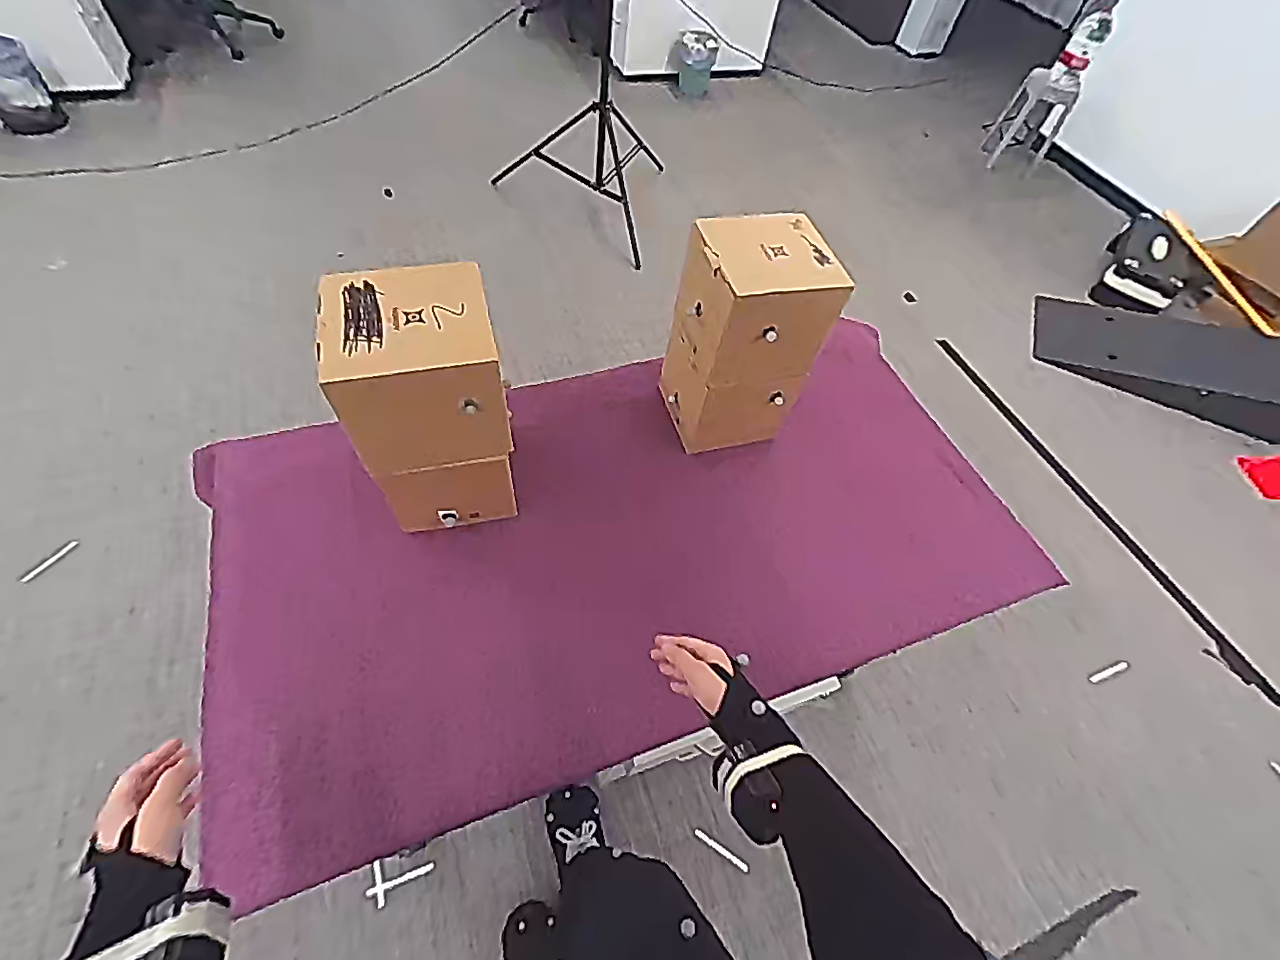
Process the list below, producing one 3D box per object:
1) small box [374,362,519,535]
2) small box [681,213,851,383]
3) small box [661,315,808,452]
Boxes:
[{"bbox_3d":[-0.276,-0.044,0.788,0.168,0.176,0.179,-10,61,-12],"label":"small box"},{"bbox_3d":[0.166,-0.260,0.790,0.179,0.176,0.168,-11,60,-13],"label":"small box"},{"bbox_3d":[0.150,-0.170,0.926,0.179,0.176,0.168,-11,59,-14],"label":"small box"}]
